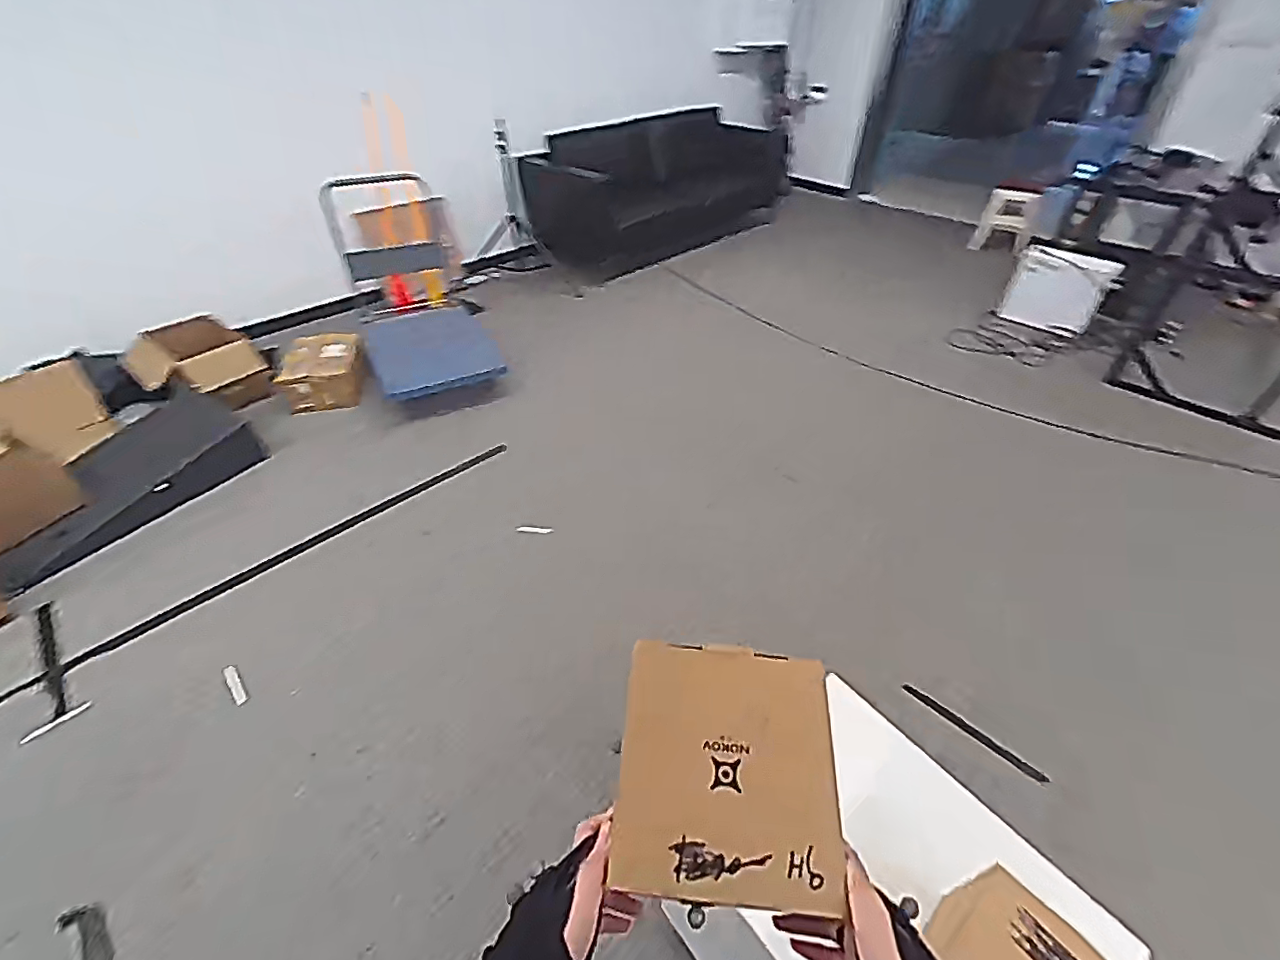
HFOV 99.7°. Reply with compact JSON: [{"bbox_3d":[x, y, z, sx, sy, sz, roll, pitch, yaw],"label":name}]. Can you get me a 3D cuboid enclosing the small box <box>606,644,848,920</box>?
[{"bbox_3d":[0.063,0.265,0.475,0.168,0.176,0.179,4,52,3],"label":"small box"}]
